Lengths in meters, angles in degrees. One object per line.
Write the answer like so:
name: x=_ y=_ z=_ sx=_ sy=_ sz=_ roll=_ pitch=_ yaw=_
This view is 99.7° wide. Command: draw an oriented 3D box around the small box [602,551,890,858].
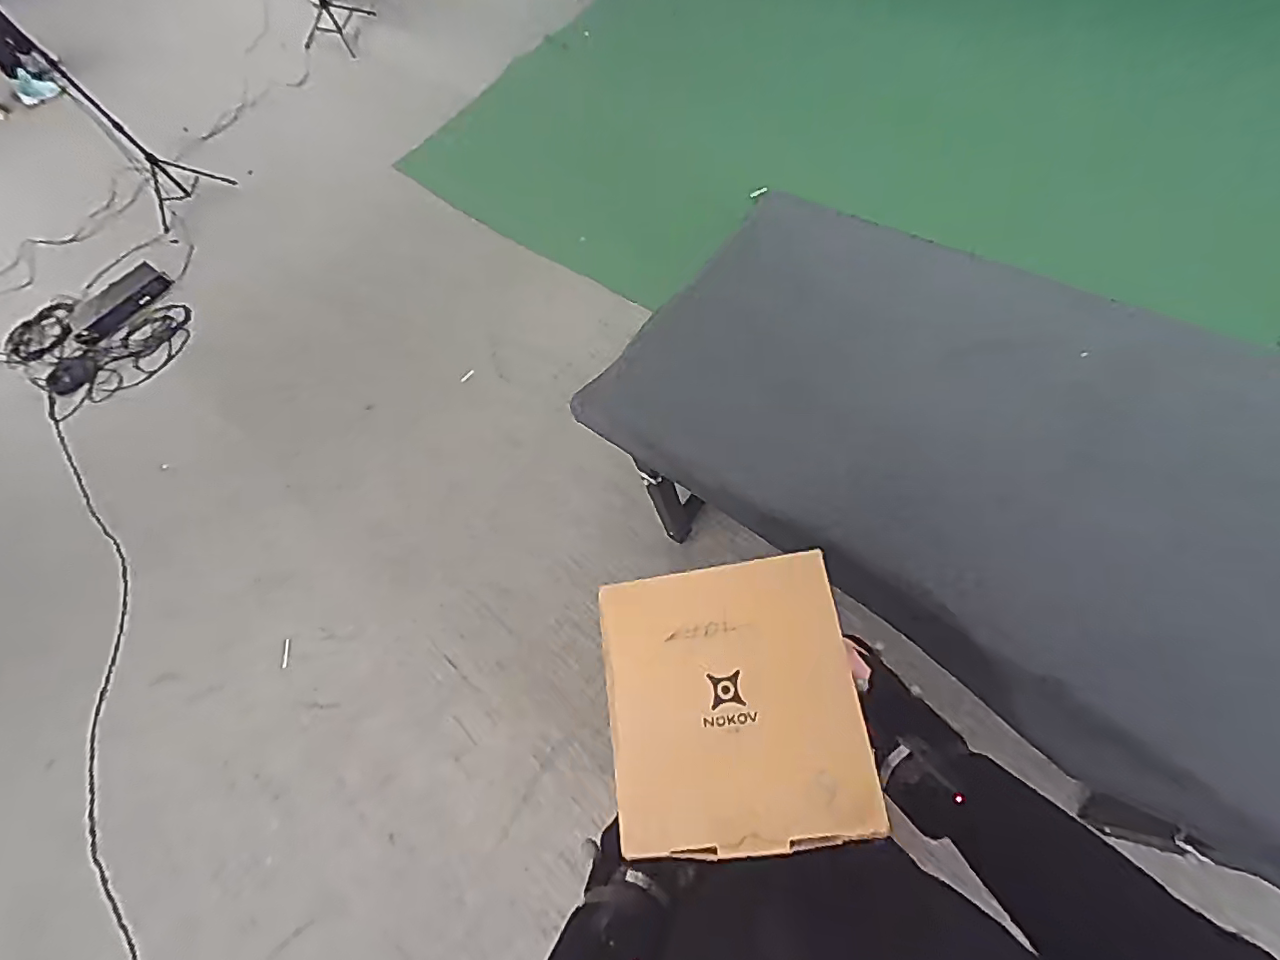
small box: x=0.076 y=0.171 z=0.432 sx=0.168 sy=0.176 sz=0.179 roll=-11 pitch=66 yaw=7
